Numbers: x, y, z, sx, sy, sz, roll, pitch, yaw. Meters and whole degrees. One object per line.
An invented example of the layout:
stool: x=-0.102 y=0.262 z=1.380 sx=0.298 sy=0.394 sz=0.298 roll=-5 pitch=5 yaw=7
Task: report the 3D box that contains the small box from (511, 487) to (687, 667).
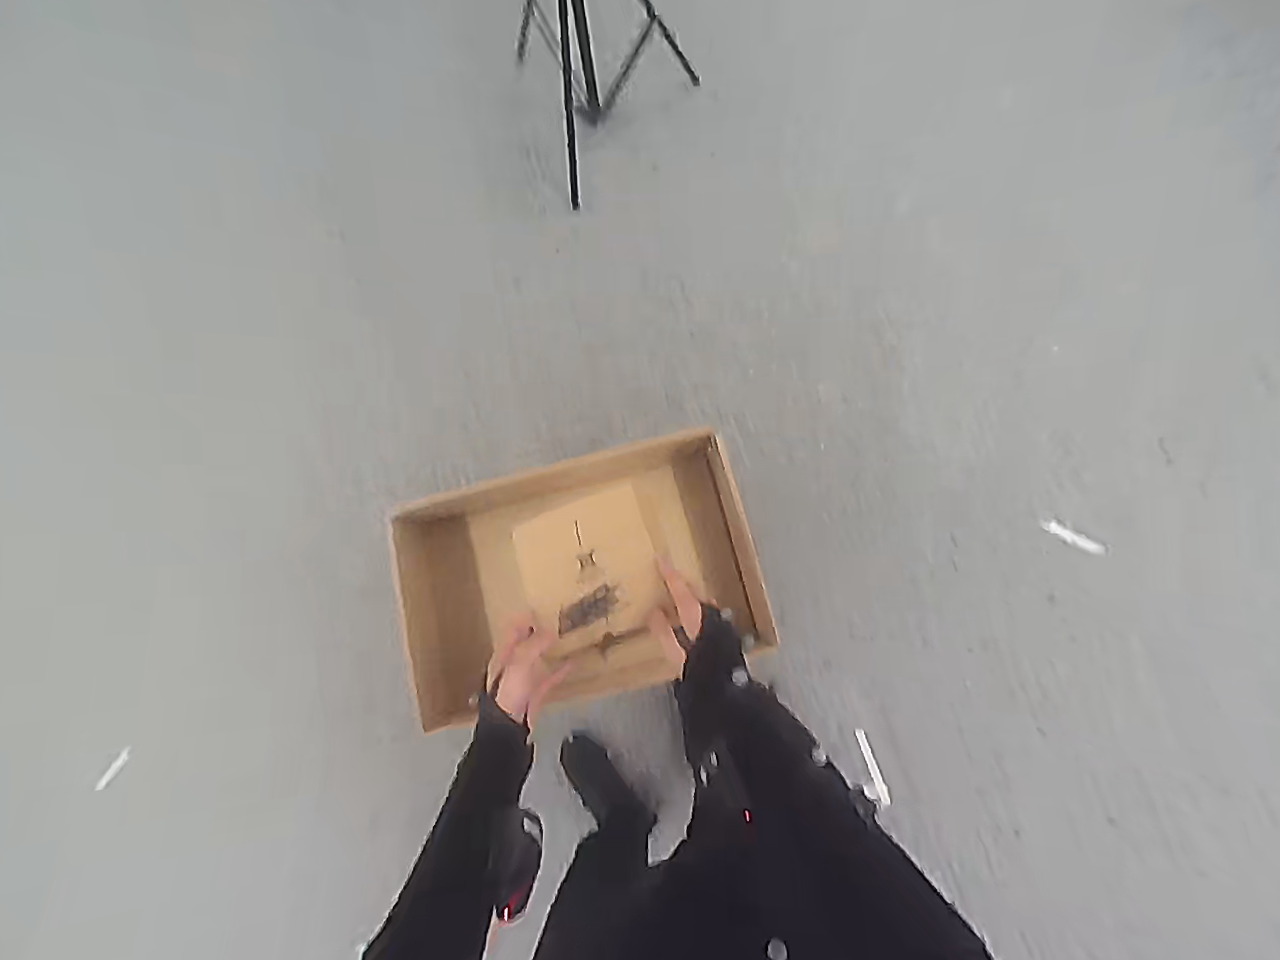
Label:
small box: x=-0.045 y=0.132 z=0.717 sx=0.168 sy=0.176 sz=0.179 roll=-21 pitch=71 yaw=5
